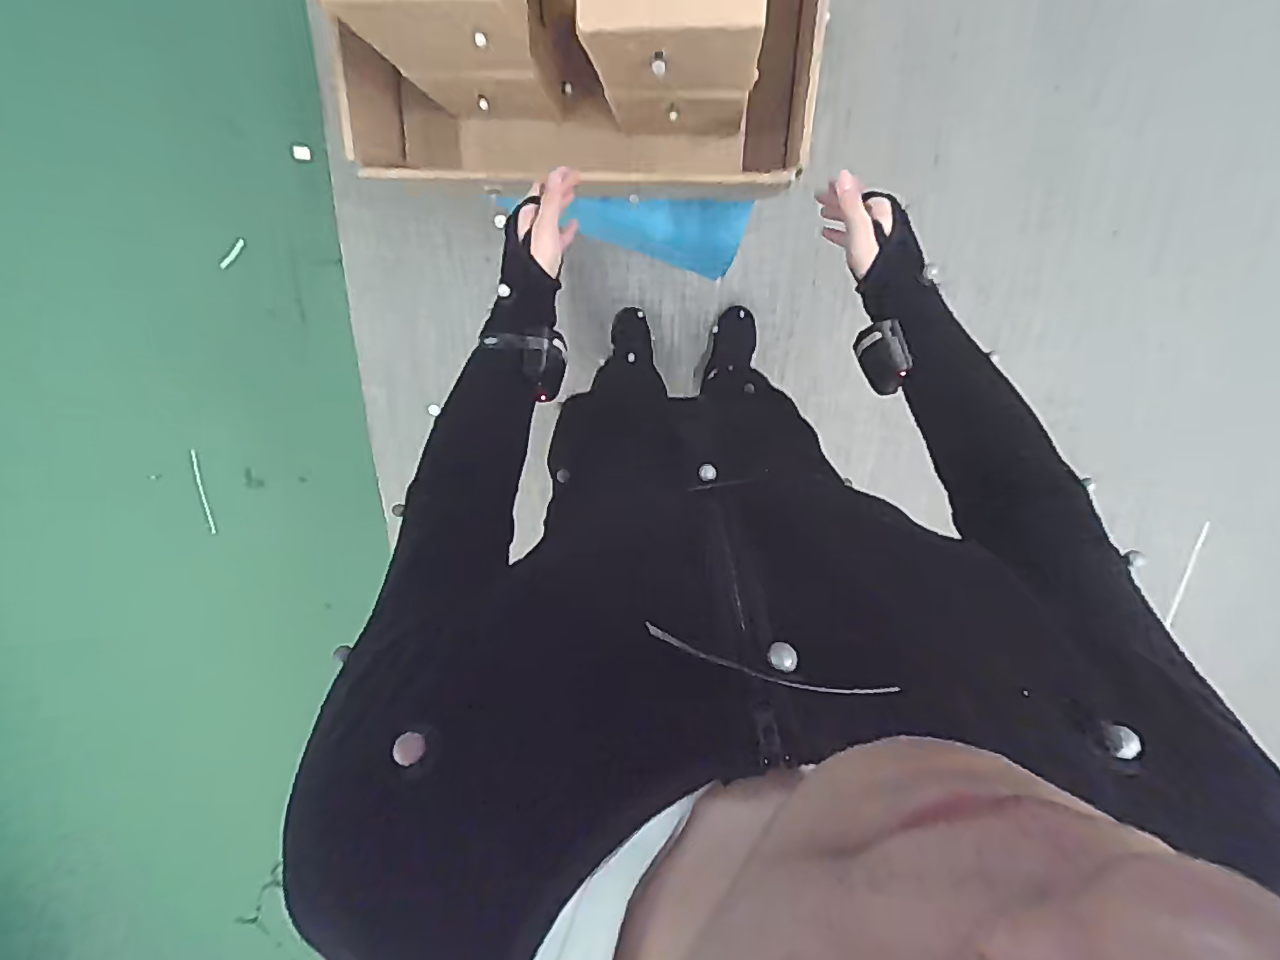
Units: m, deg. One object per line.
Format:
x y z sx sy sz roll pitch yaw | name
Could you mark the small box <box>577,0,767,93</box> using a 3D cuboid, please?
0.041 -0.516 0.547 0.179 0.176 0.168 4 110 8 | small box
